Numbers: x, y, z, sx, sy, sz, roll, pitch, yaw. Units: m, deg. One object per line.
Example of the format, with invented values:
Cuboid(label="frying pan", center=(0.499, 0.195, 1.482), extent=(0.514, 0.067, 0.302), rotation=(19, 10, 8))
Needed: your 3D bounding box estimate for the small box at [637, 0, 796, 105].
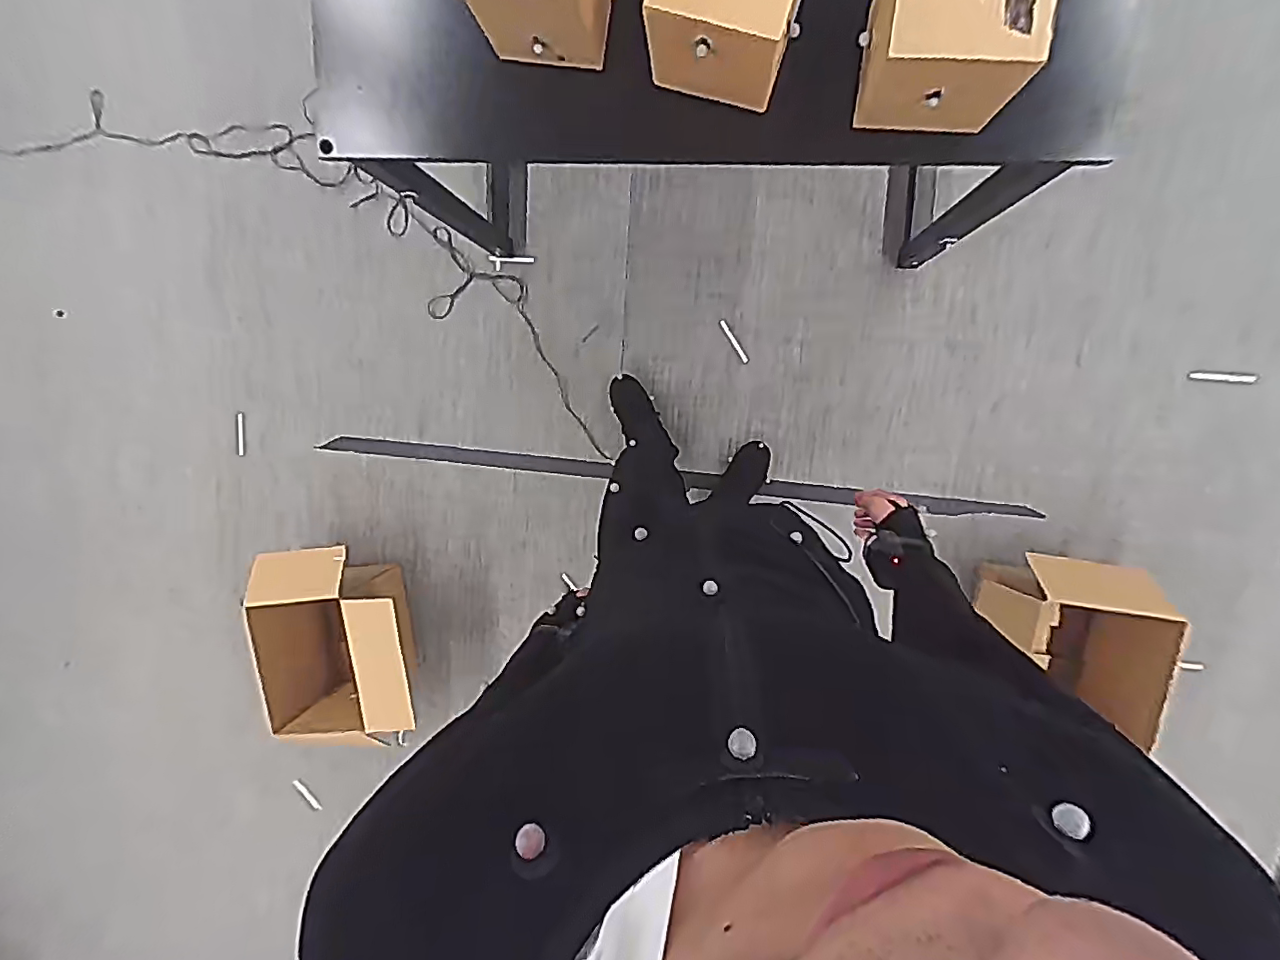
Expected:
Cuboid(label="small box", center=(0.112, -0.633, 0.709), extent=(0.179, 0.176, 0.168), rotation=(18, 100, 5))

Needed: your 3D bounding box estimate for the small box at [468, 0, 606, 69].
Cuboid(label="small box", center=(-0.141, -0.706, 0.728), extent=(0.168, 0.176, 0.179), rotation=(10, 100, 6))

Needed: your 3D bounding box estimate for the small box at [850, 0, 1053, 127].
Cuboid(label="small box", center=(0.384, -0.573, 0.681), extent=(0.179, 0.176, 0.168), rotation=(7, 99, 8))
